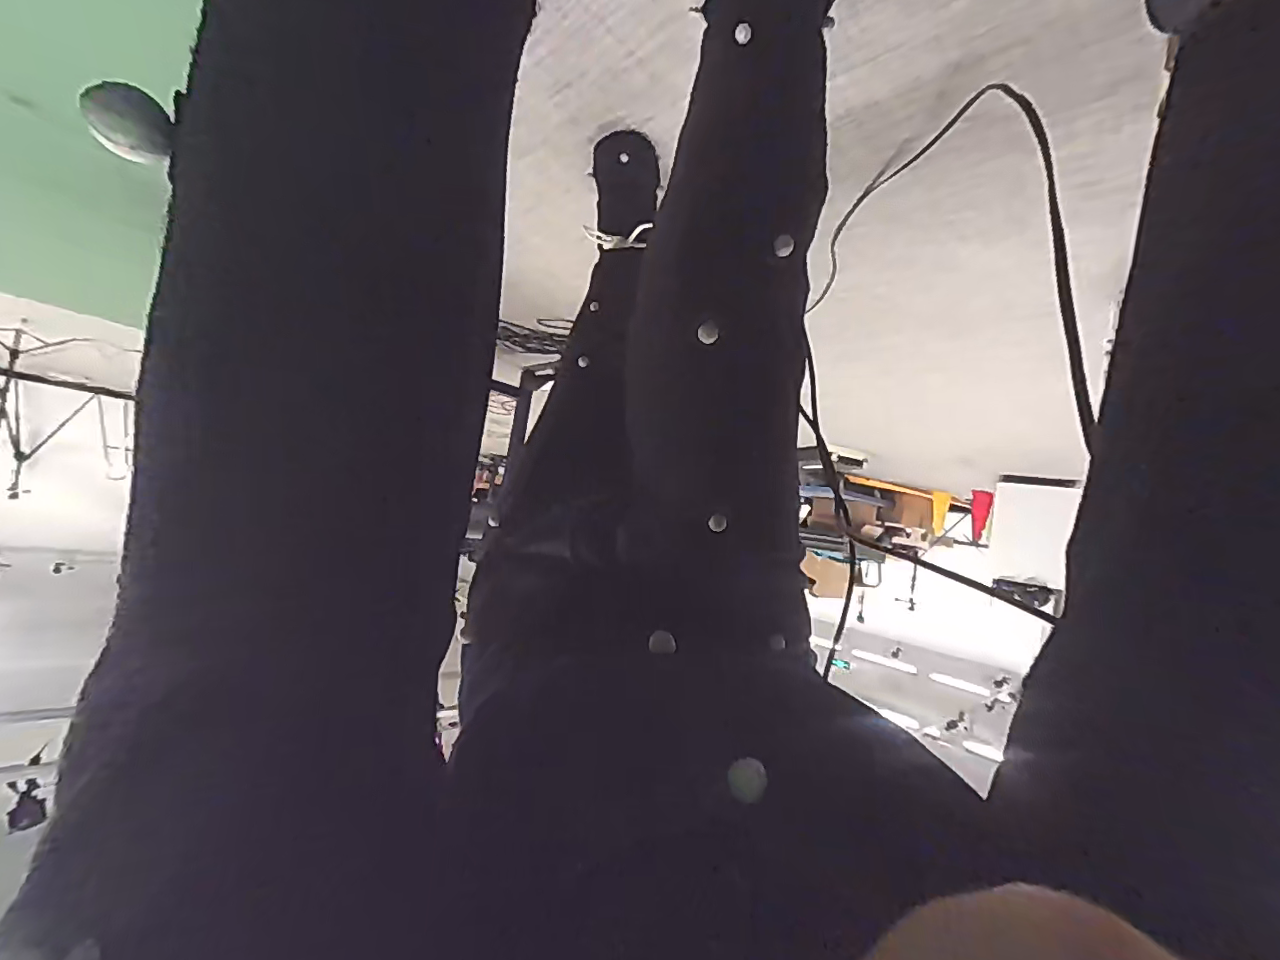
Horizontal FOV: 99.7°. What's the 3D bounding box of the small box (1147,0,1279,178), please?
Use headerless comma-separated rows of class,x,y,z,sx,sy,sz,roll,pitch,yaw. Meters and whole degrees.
small box,0.539,-0.391,0.436,0.179,0.176,0.168,6,176,42
